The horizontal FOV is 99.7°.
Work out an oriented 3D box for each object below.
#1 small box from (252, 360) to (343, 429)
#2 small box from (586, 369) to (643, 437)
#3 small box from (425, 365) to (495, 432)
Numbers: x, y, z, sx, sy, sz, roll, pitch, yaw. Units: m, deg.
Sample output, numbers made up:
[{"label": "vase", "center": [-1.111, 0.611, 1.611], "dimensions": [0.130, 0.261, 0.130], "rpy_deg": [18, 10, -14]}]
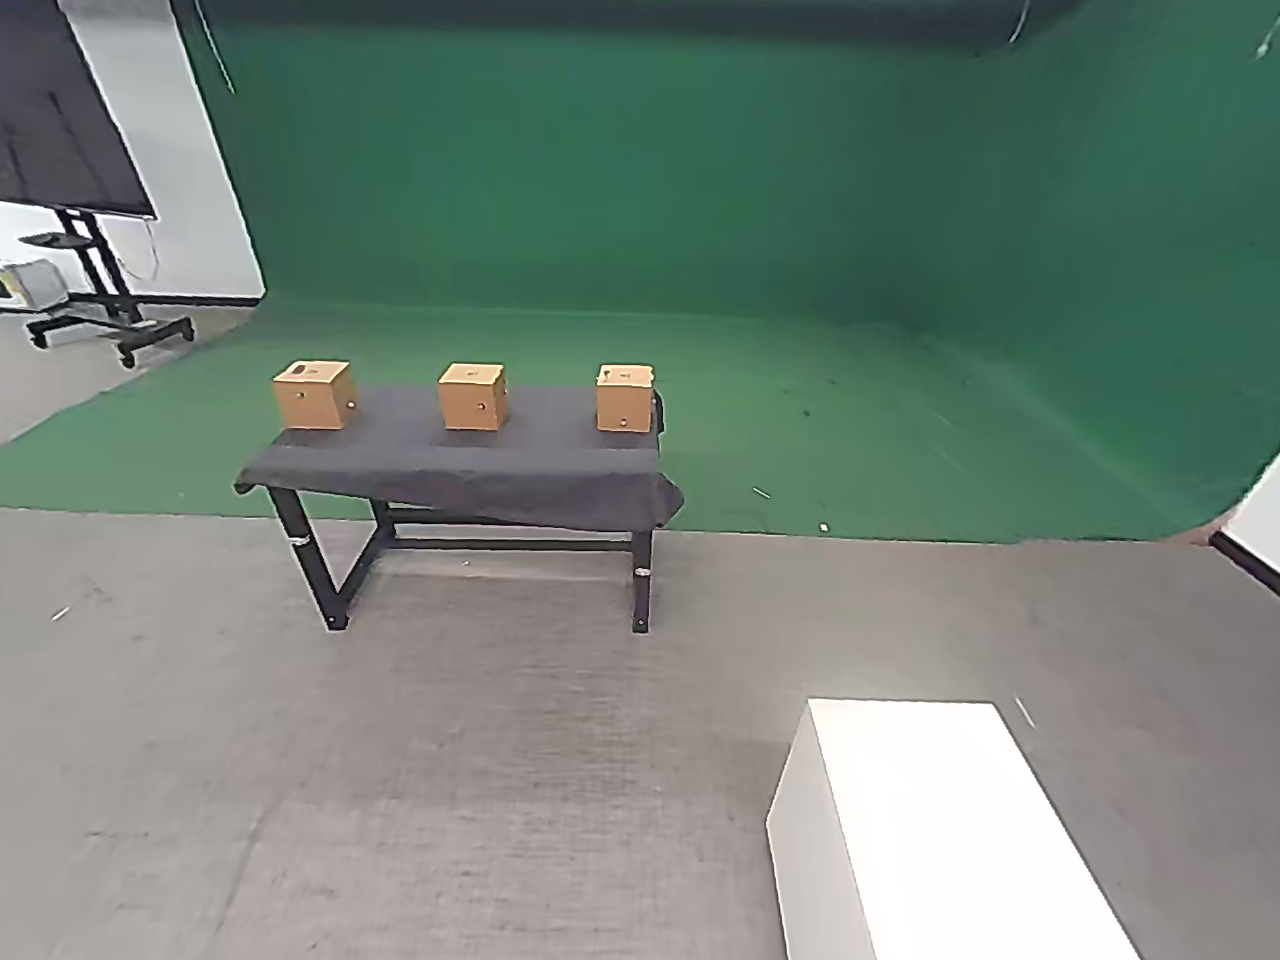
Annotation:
[{"label": "small box", "center": [-1.085, -0.274, 1.728], "dimensions": [0.179, 0.176, 0.168], "rpy_deg": [2, 33, -6]}, {"label": "small box", "center": [-0.086, -0.256, 1.816], "dimensions": [0.179, 0.176, 0.168], "rpy_deg": [4, 33, -1]}, {"label": "small box", "center": [-0.584, -0.266, 1.781], "dimensions": [0.179, 0.176, 0.168], "rpy_deg": [1, 32, -3]}]
